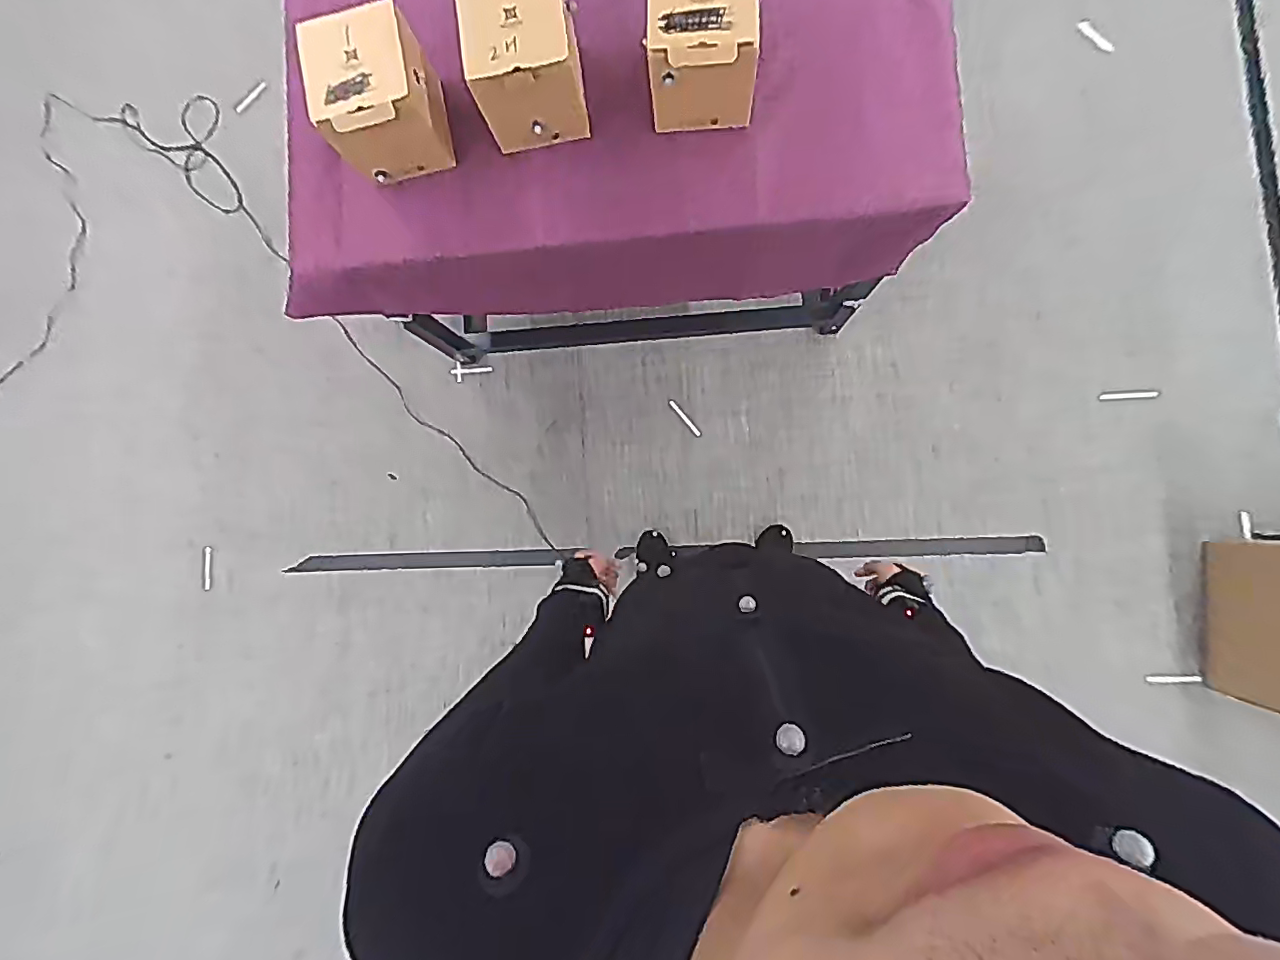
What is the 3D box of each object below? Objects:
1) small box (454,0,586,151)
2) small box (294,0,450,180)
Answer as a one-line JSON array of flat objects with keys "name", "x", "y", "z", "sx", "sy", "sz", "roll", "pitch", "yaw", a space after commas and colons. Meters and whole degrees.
[{"name": "small box", "x": -0.193, "y": -0.696, "z": 0.903, "sx": 0.168, "sy": 0.176, "sz": 0.179, "roll": -8, "pitch": 86, "yaw": 5}, {"name": "small box", "x": -0.445, "y": -0.646, "z": 0.923, "sx": 0.168, "sy": 0.176, "sz": 0.179, "roll": -12, "pitch": 85, "yaw": 4}]
